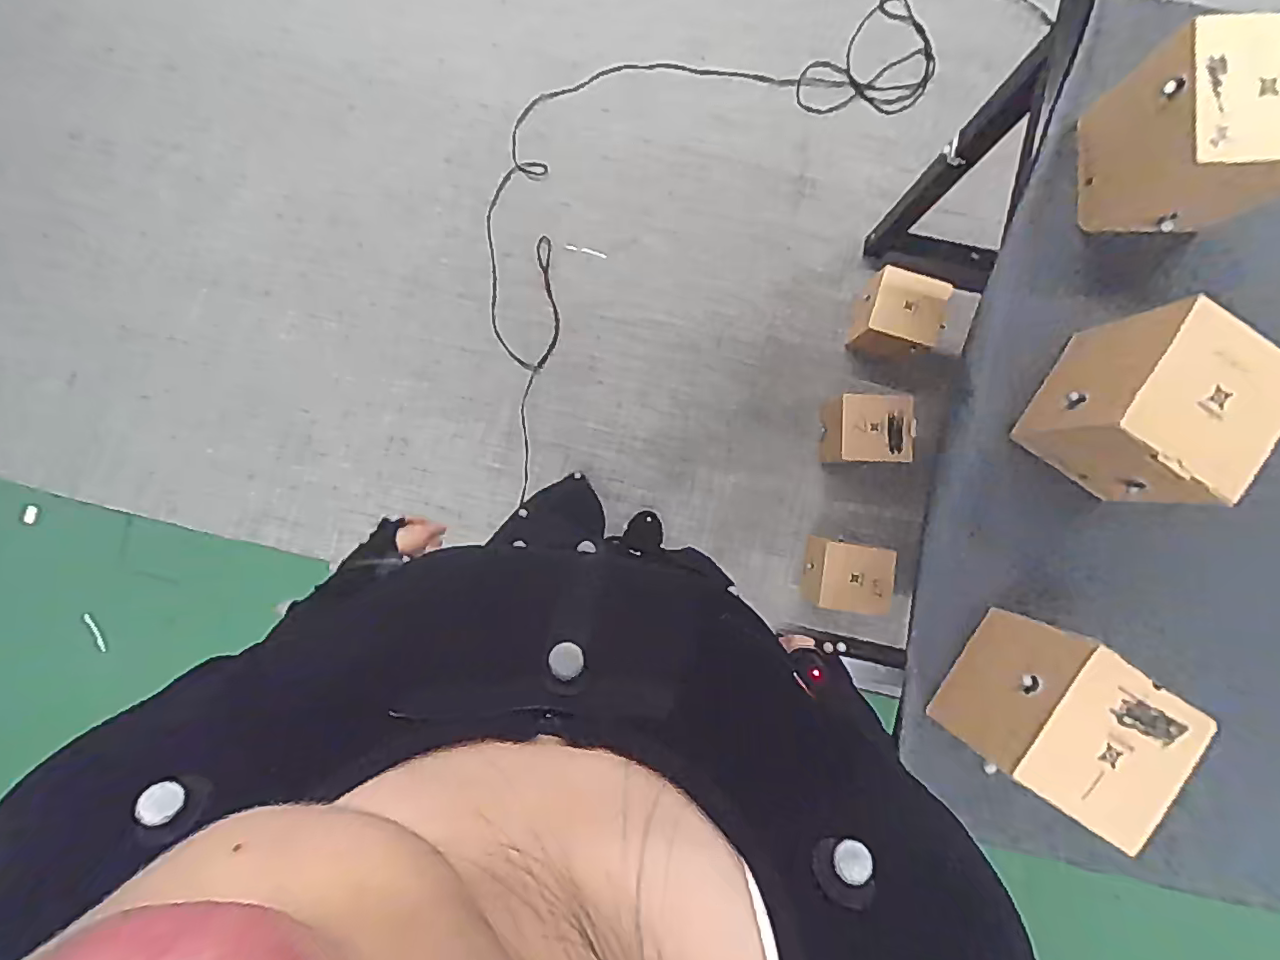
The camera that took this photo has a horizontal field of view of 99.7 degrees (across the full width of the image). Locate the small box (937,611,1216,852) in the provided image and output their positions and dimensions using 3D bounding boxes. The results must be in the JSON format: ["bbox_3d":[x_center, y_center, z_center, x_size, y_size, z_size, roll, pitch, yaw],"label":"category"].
[{"bbox_3d":[0.508,0.285,0.659,0.168,0.176,0.179,34,88,-1],"label":"small box"}]

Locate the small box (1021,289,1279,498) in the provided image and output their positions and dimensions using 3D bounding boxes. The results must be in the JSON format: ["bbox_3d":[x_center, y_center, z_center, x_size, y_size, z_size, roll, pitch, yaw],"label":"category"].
[{"bbox_3d":[0.626,-0.094,0.671,0.168,0.176,0.179,33,88,-2],"label":"small box"}]

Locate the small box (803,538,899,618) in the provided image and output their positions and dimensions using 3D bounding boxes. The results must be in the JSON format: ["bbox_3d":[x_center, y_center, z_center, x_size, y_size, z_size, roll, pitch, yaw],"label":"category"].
[{"bbox_3d":[0.534,0.244,1.392,0.179,0.176,0.168,8,90,1],"label":"small box"}]

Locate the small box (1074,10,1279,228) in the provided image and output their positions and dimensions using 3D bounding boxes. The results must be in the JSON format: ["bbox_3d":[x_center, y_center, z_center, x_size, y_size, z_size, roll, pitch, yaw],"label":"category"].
[{"bbox_3d":[0.697,-0.434,0.677,0.179,0.176,0.168,0,89,1],"label":"small box"}]

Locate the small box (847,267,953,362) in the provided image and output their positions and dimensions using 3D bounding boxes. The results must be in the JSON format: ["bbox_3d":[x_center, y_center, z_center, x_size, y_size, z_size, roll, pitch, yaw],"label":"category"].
[{"bbox_3d":[0.665,-0.422,1.408,0.179,0.176,0.168,17,89,0],"label":"small box"}]
